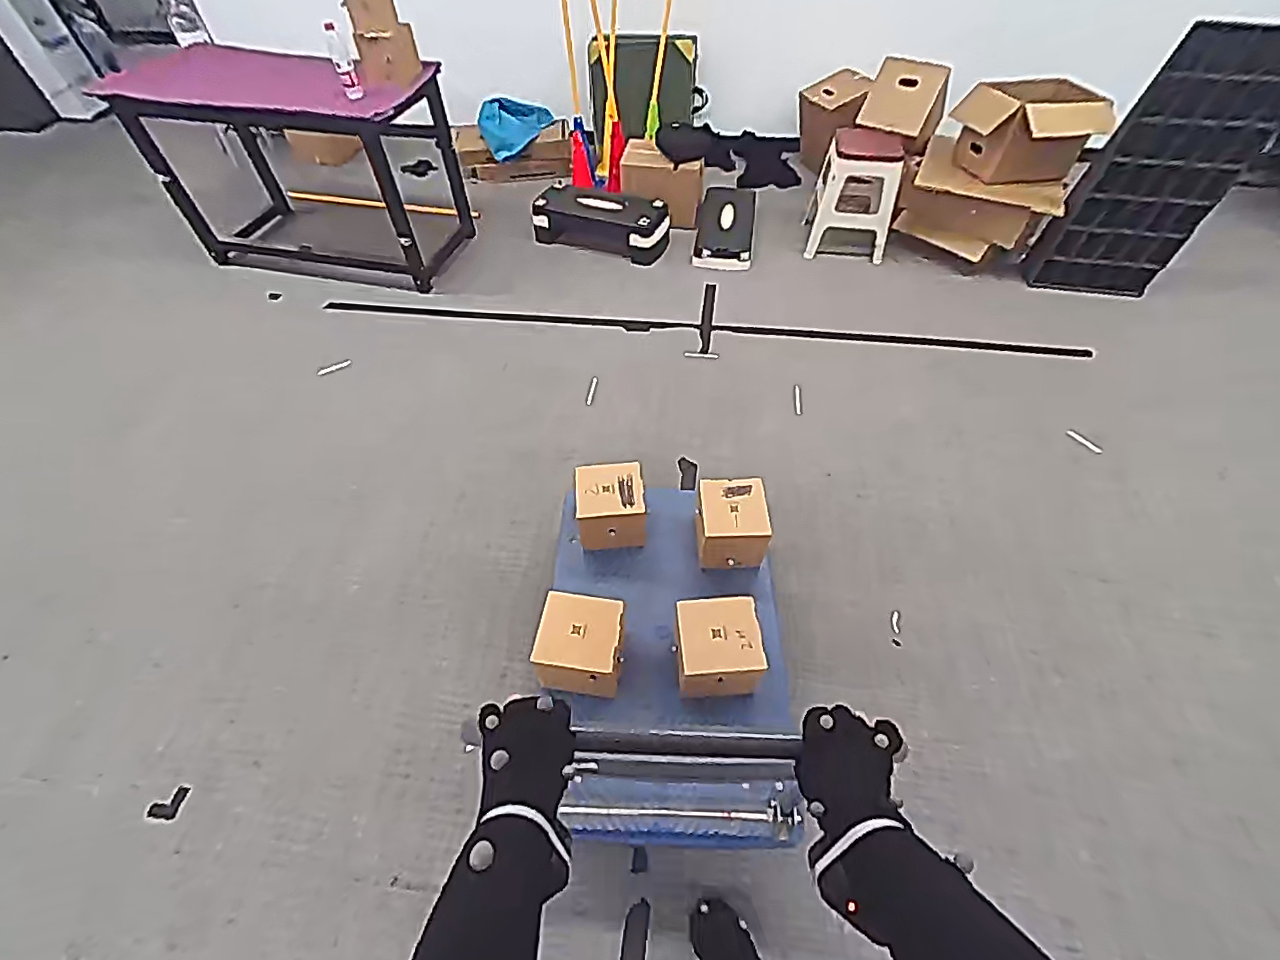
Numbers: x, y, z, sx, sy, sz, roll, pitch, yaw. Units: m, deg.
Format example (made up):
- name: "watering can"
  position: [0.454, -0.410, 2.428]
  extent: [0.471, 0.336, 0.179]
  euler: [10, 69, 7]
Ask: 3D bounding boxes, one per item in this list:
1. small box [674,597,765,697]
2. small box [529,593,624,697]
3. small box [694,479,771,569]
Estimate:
- name: "small box"
  position: [0.170, 0.379, 1.215]
  extent: [0.179, 0.176, 0.168]
  euler: [-3, 52, -2]
- name: "small box"
  position: [-0.135, 0.375, 1.223]
  extent: [0.179, 0.176, 0.168]
  euler: [7, 52, 4]
- name: "small box"
  position: [0.234, 0.116, 1.418]
  extent: [0.168, 0.176, 0.179]
  euler: [-1, 53, 0]
